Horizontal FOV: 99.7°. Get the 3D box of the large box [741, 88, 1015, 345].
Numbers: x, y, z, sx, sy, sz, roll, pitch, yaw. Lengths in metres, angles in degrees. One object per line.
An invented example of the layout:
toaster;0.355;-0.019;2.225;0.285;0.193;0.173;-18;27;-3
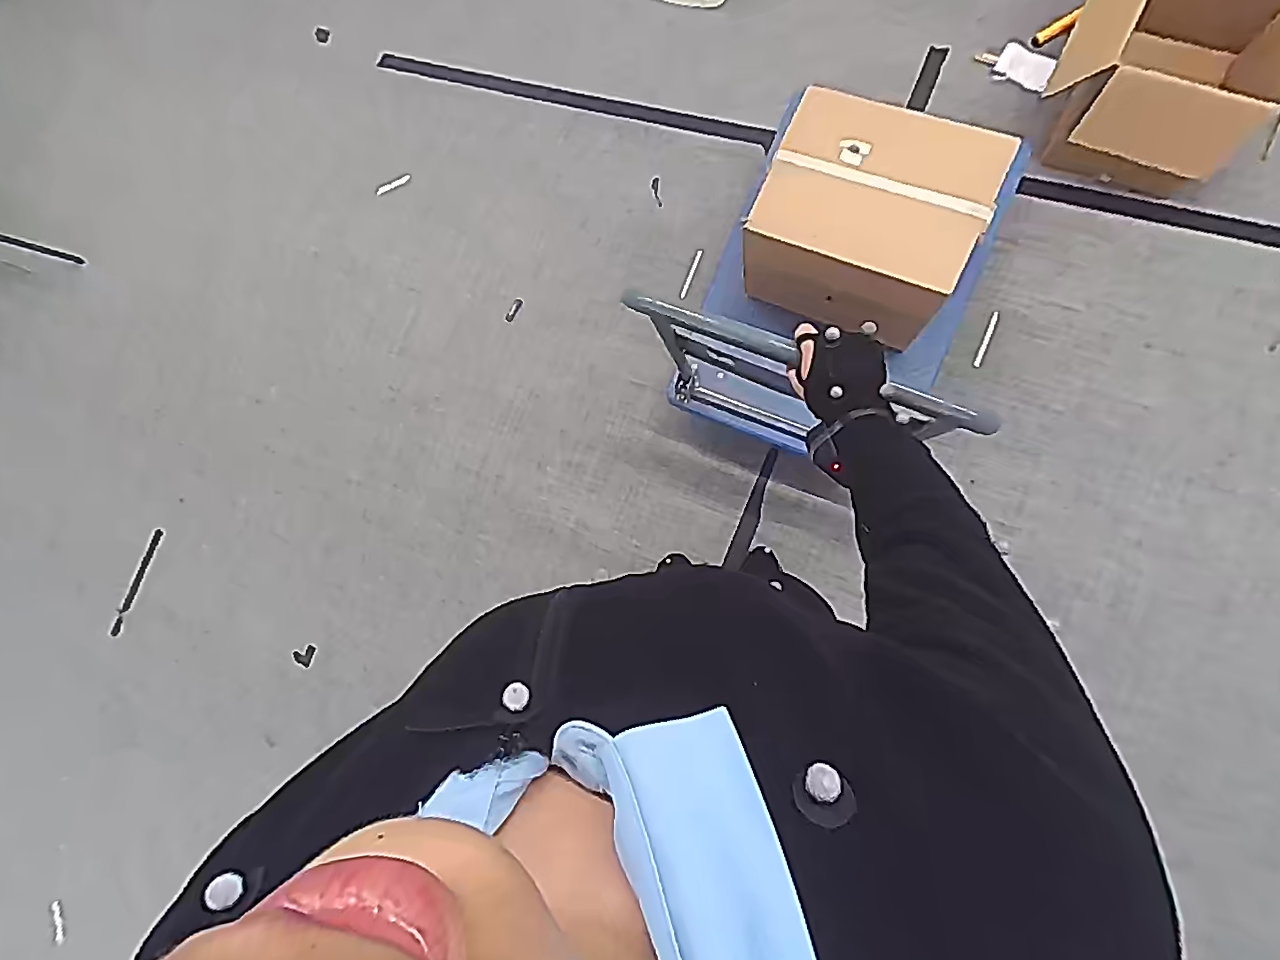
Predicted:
large box;0.465;-0.534;1.148;0.408;0.320;0.320;24;89;14
